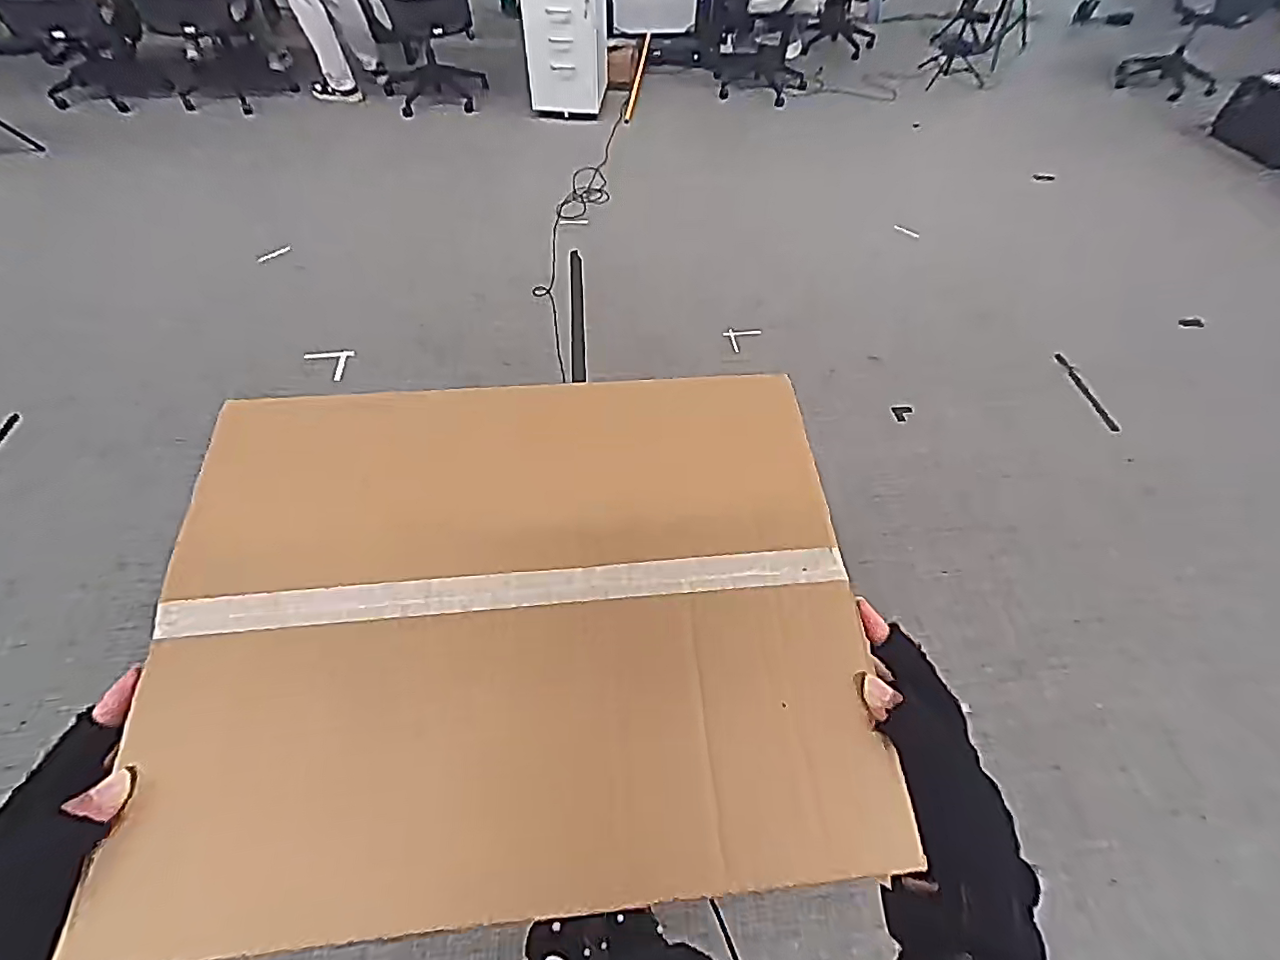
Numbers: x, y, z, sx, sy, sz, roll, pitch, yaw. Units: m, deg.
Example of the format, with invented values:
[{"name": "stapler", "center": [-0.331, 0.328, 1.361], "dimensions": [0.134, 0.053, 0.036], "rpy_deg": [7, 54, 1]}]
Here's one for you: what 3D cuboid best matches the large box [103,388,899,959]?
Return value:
[{"name": "large box", "center": [-0.080, 0.146, 0.469], "dimensions": [0.408, 0.320, 0.320], "rpy_deg": [-4, 63, -5]}]
